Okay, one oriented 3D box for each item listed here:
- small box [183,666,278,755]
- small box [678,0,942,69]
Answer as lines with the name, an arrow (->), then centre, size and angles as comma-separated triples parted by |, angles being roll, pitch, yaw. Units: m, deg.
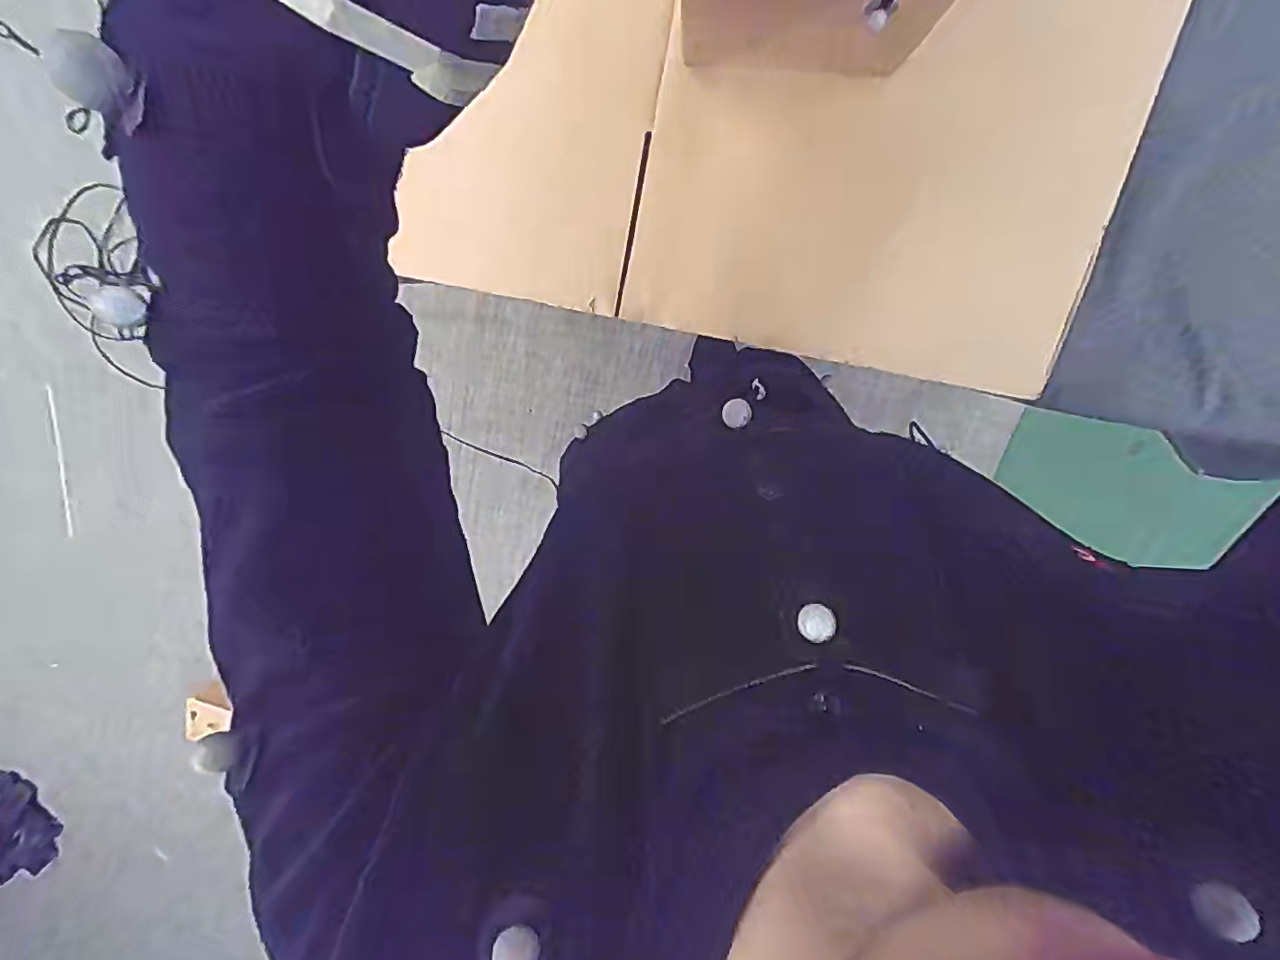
small box -> -1.272, 0.713, 1.687 | 0.179, 0.176, 0.168 | 17, 108, 0
small box -> 0.117, -0.390, 0.336 | 0.179, 0.176, 0.168 | 5, 104, 4
